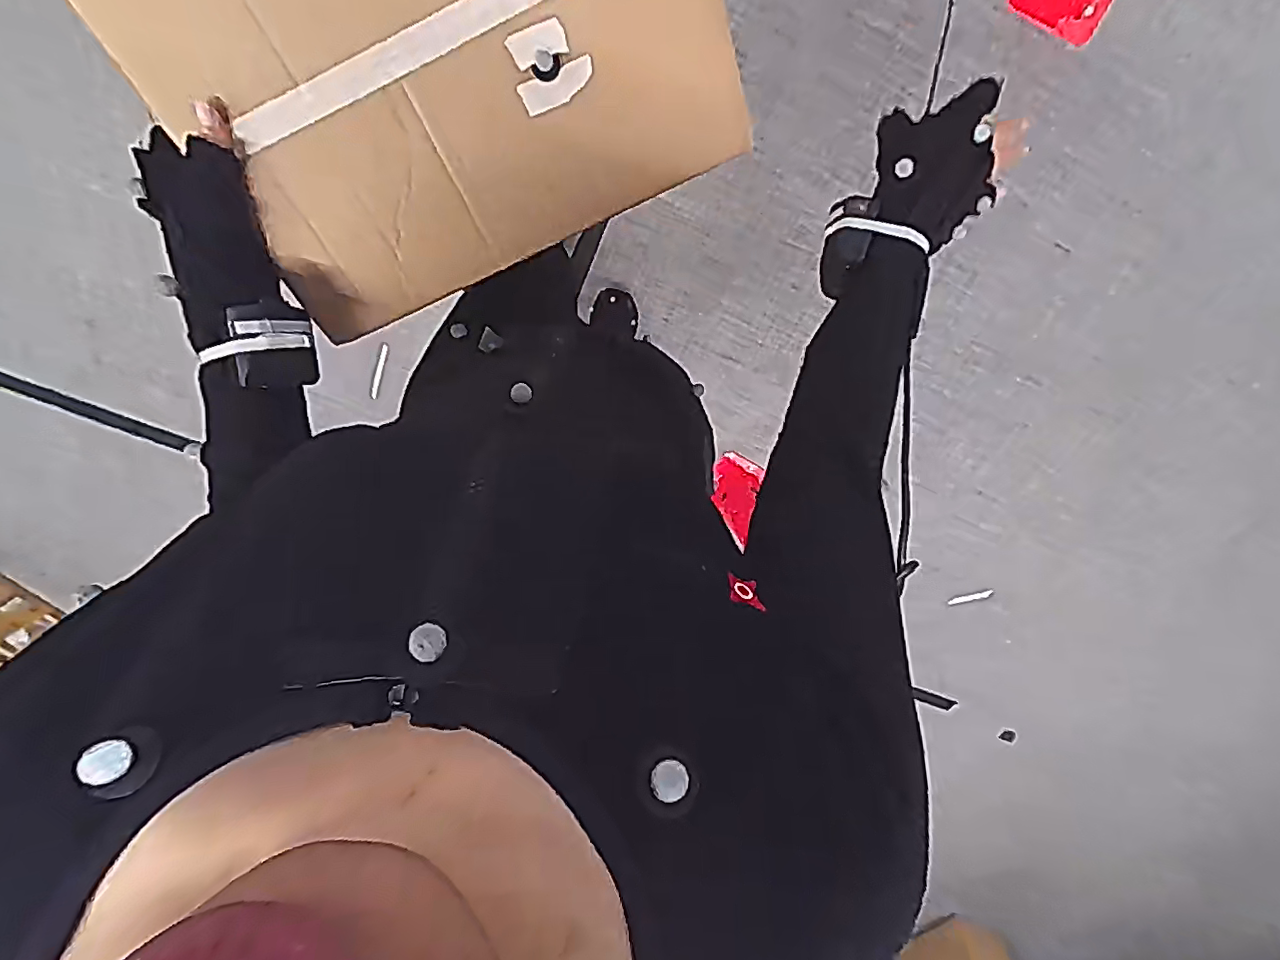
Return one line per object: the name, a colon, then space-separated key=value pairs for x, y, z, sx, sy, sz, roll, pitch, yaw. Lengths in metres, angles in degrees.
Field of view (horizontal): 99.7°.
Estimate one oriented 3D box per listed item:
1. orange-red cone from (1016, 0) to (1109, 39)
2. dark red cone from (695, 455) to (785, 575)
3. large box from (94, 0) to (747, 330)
orange-red cone: x=0.864 y=-0.945 z=0.906 sx=0.198 sy=0.360 sz=0.199 roll=19 pitch=113 yaw=-10
dark red cone: x=0.279 y=0.113 z=1.386 sx=0.201 sy=0.394 sz=0.202 roll=27 pitch=112 yaw=-11
large box: x=-0.170 y=-0.402 z=0.516 sx=0.408 sy=0.320 sz=0.320 roll=-24 pitch=123 yaw=4
